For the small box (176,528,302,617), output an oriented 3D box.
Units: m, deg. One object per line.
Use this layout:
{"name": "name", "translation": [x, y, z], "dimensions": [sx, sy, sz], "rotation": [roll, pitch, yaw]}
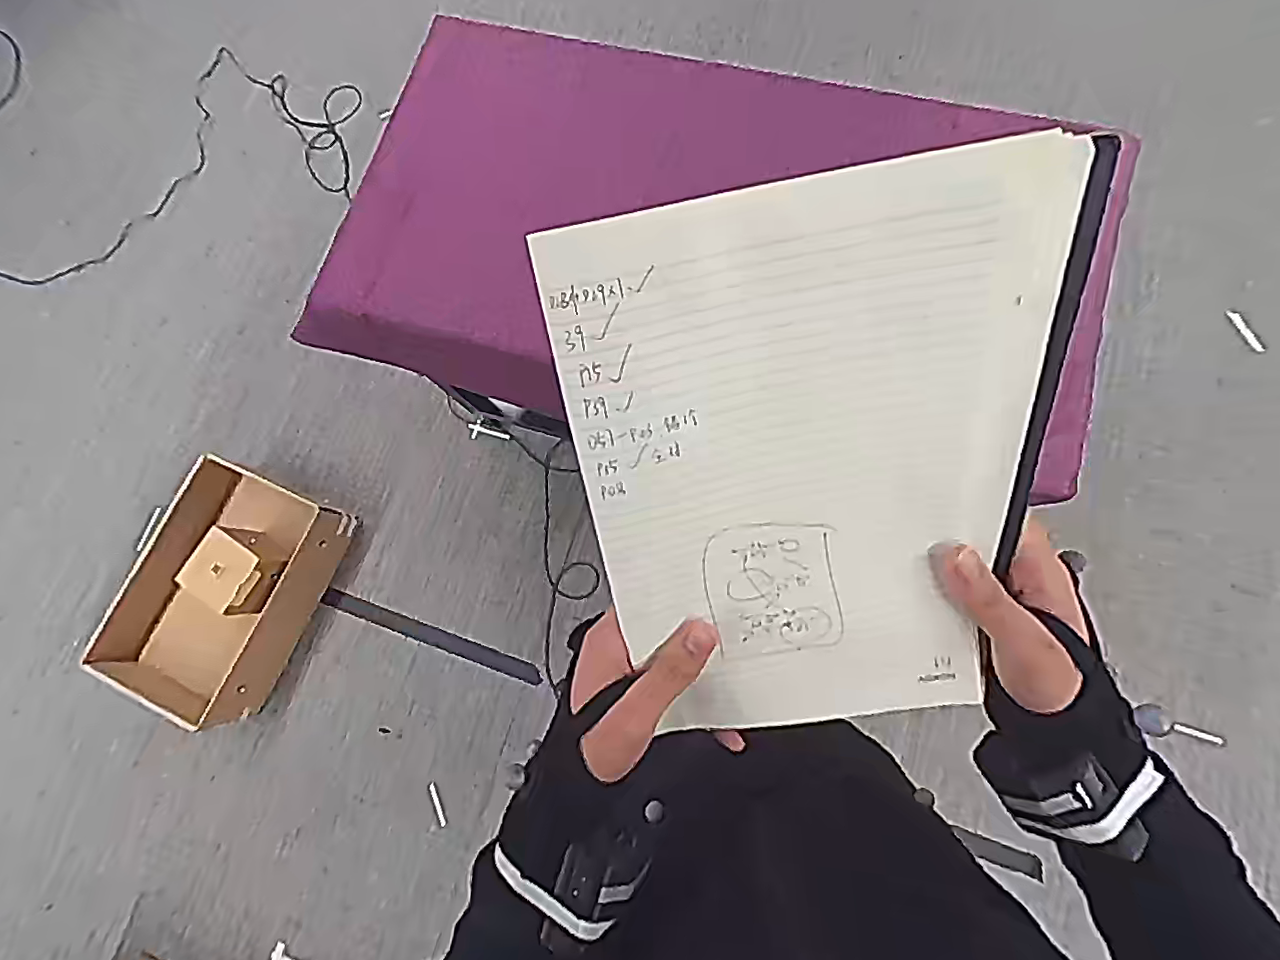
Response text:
{"name": "small box", "translation": [-1.064, 0.248, 1.452], "dimensions": [0.179, 0.176, 0.168], "rotation": [30, 83, 10]}
